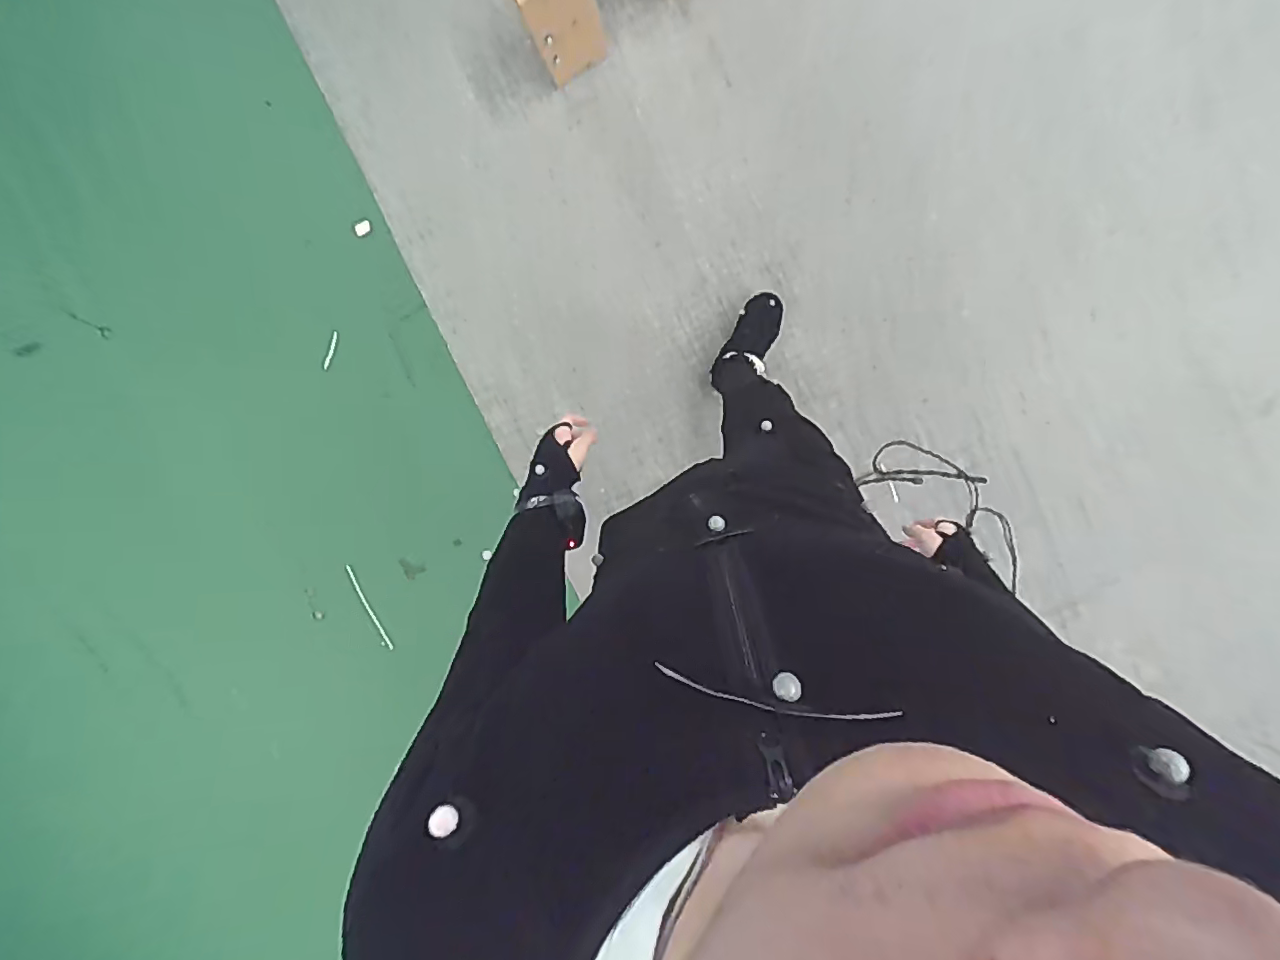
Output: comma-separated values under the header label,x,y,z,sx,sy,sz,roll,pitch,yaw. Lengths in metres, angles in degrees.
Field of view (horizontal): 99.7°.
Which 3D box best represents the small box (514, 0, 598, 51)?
label,x,y,z,sx,sy,sz,roll,pitch,yaw
small box,-0.212,-1.127,1.222,0.168,0.176,0.179,-27,93,9
